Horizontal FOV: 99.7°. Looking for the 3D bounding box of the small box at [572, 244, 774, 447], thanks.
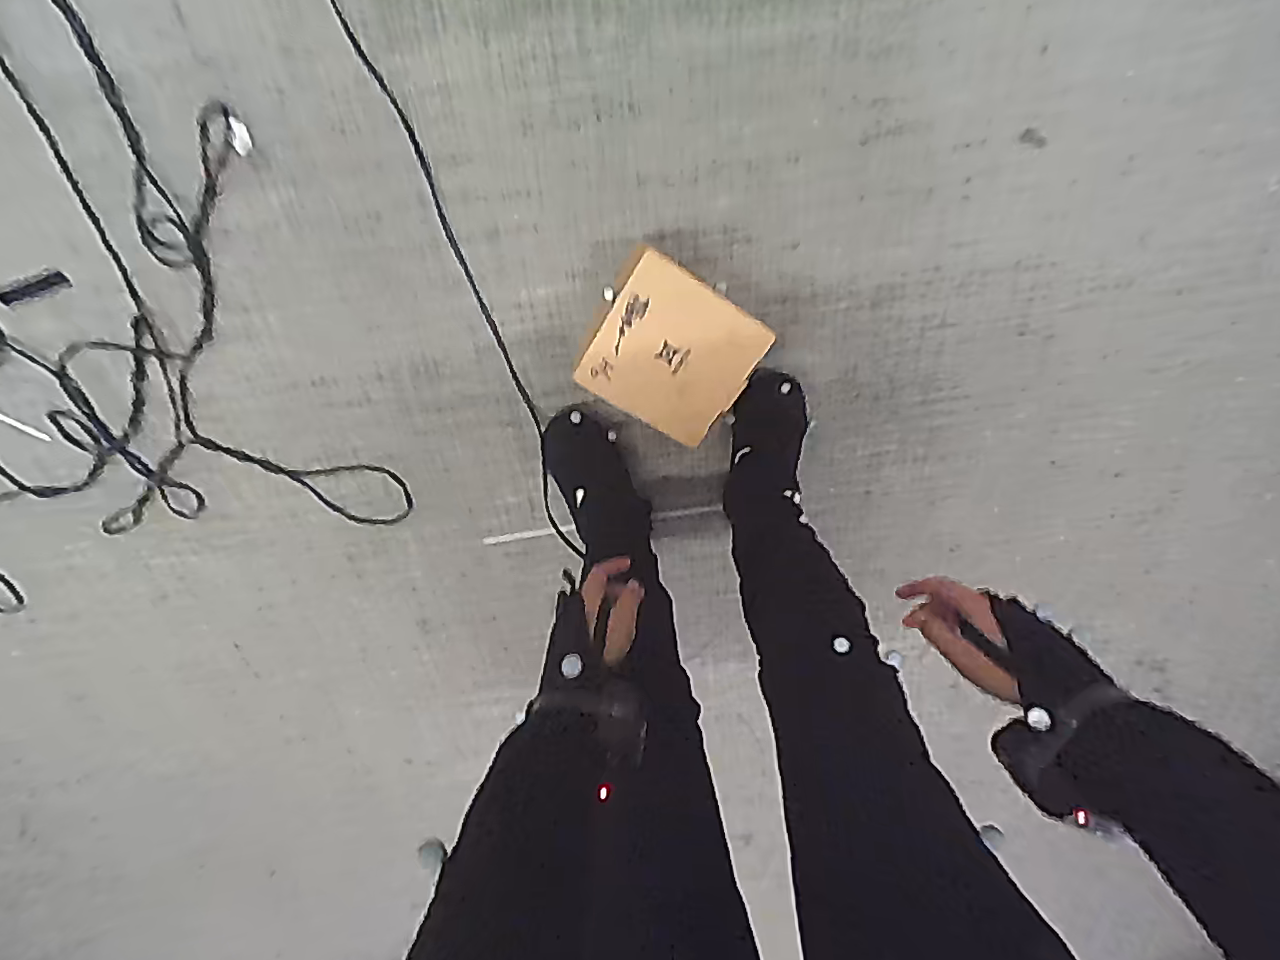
[{"bbox_3d":[0.033,-0.176,0.679,0.179,0.176,0.168,29,112,-17],"label":"small box"}]
